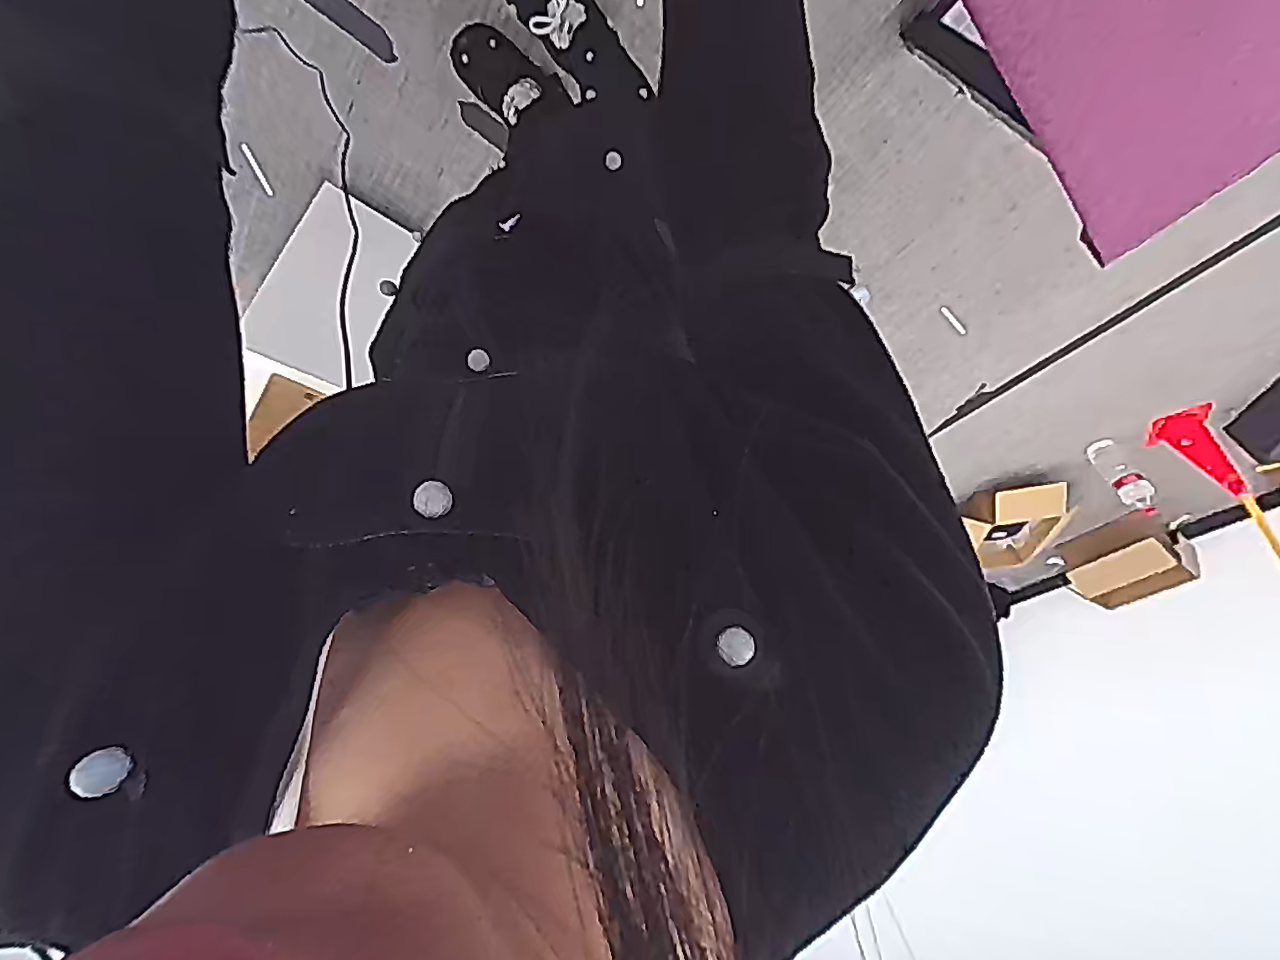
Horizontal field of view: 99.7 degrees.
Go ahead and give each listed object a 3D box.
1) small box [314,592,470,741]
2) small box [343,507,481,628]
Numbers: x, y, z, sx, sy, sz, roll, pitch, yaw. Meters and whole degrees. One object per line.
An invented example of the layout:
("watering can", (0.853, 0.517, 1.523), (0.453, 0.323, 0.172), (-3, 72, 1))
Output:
("small box", (-0.384, 0.299, 0.859), (0.168, 0.176, 0.179), (23, 134, -33))
("small box", (-0.394, 0.171, 0.957), (0.168, 0.176, 0.179), (24, 134, -33))
